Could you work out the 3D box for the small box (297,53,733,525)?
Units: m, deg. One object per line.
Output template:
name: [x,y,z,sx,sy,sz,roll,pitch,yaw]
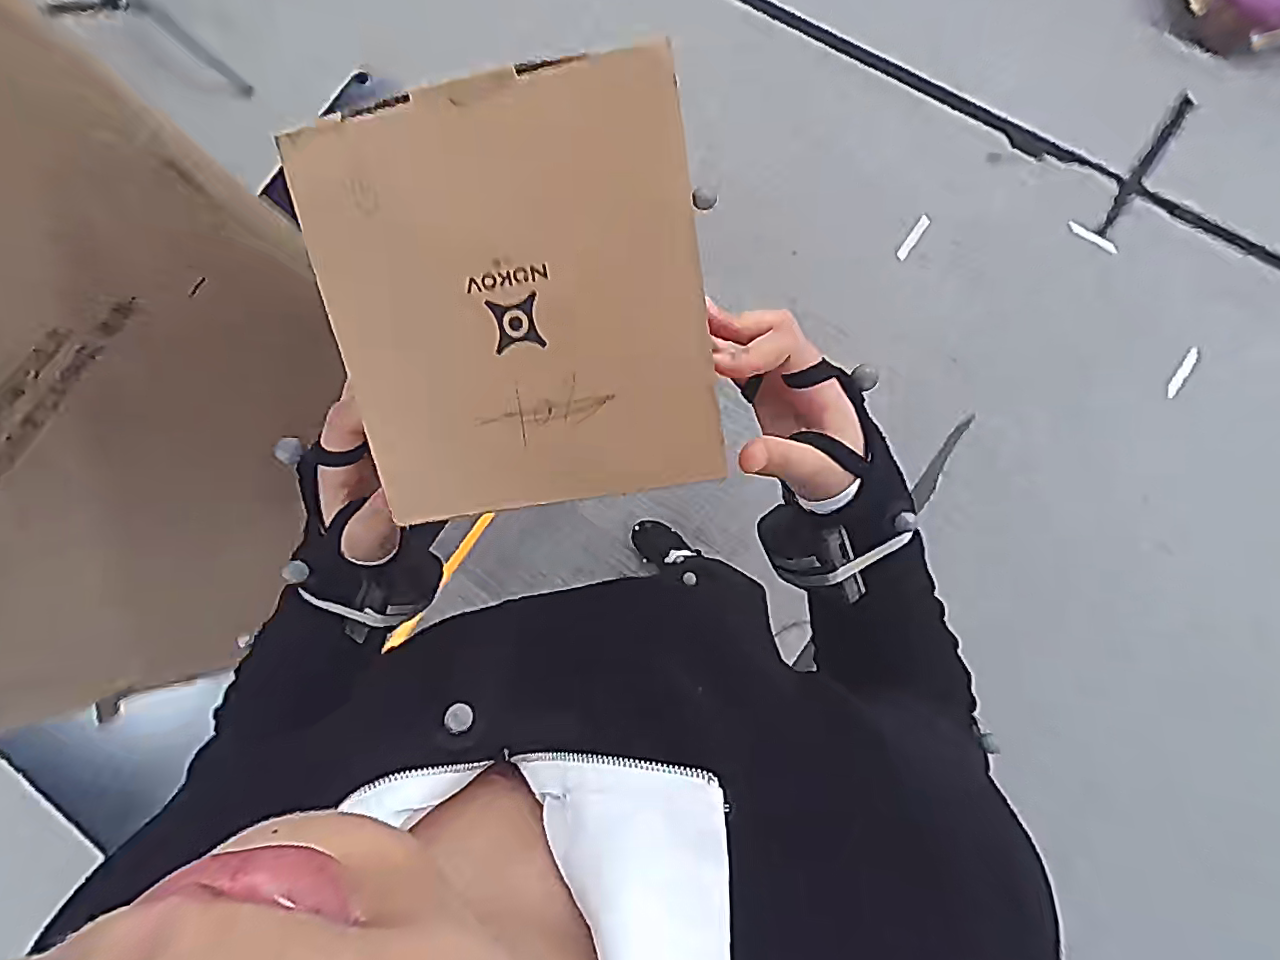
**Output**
small box: [-0.042,-0.092,0.311,0.168,0.176,0.179,-7,106,8]
